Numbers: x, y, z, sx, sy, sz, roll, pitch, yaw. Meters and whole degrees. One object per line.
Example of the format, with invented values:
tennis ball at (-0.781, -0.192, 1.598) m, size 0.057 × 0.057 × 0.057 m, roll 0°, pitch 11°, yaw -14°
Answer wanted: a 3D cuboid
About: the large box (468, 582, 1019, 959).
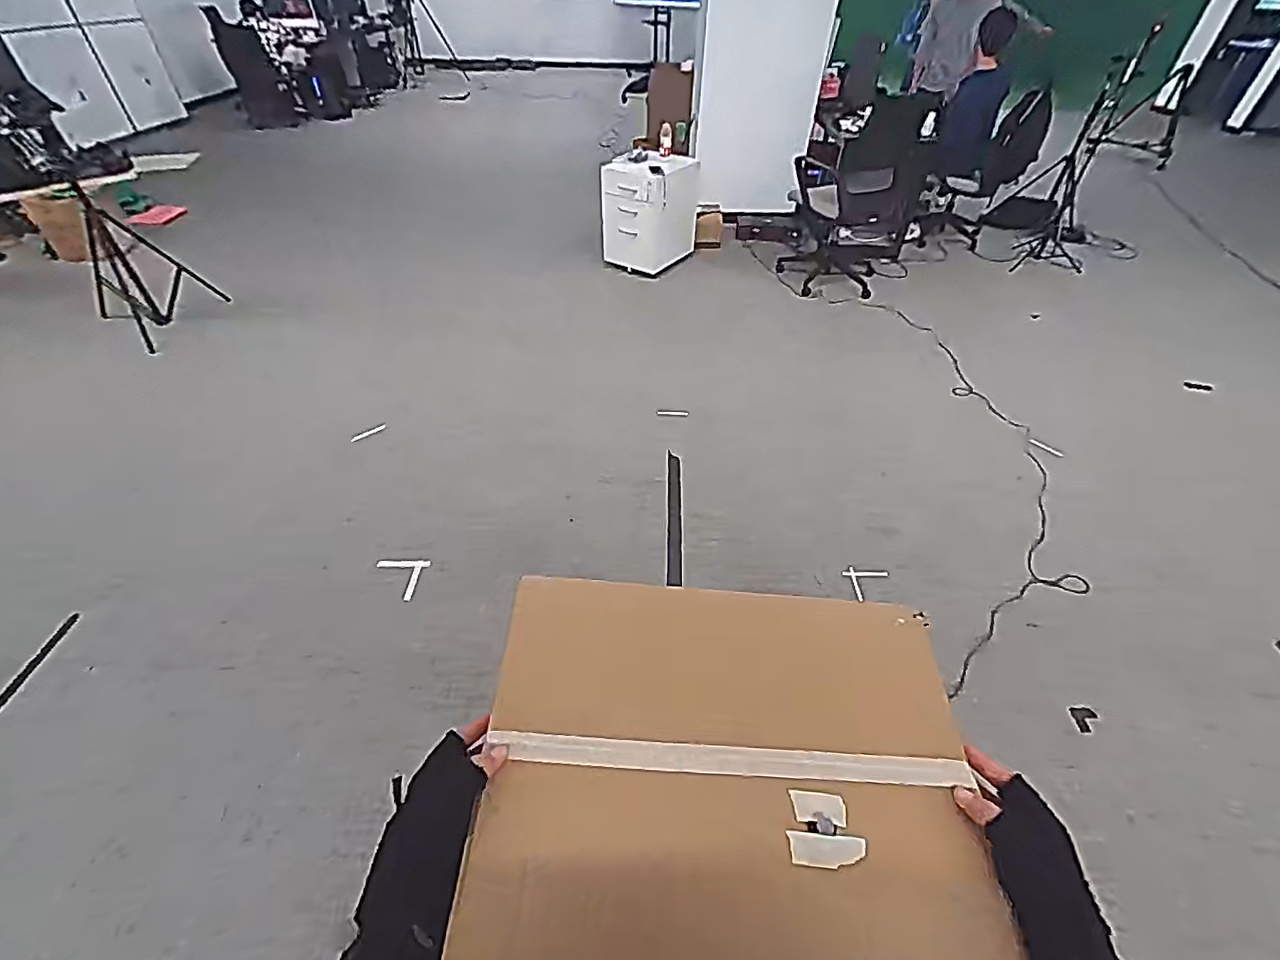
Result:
large box at (0.069, 0.330, 0.579) m, size 0.408 × 0.320 × 0.320 m, roll 5°, pitch 51°, yaw -2°
